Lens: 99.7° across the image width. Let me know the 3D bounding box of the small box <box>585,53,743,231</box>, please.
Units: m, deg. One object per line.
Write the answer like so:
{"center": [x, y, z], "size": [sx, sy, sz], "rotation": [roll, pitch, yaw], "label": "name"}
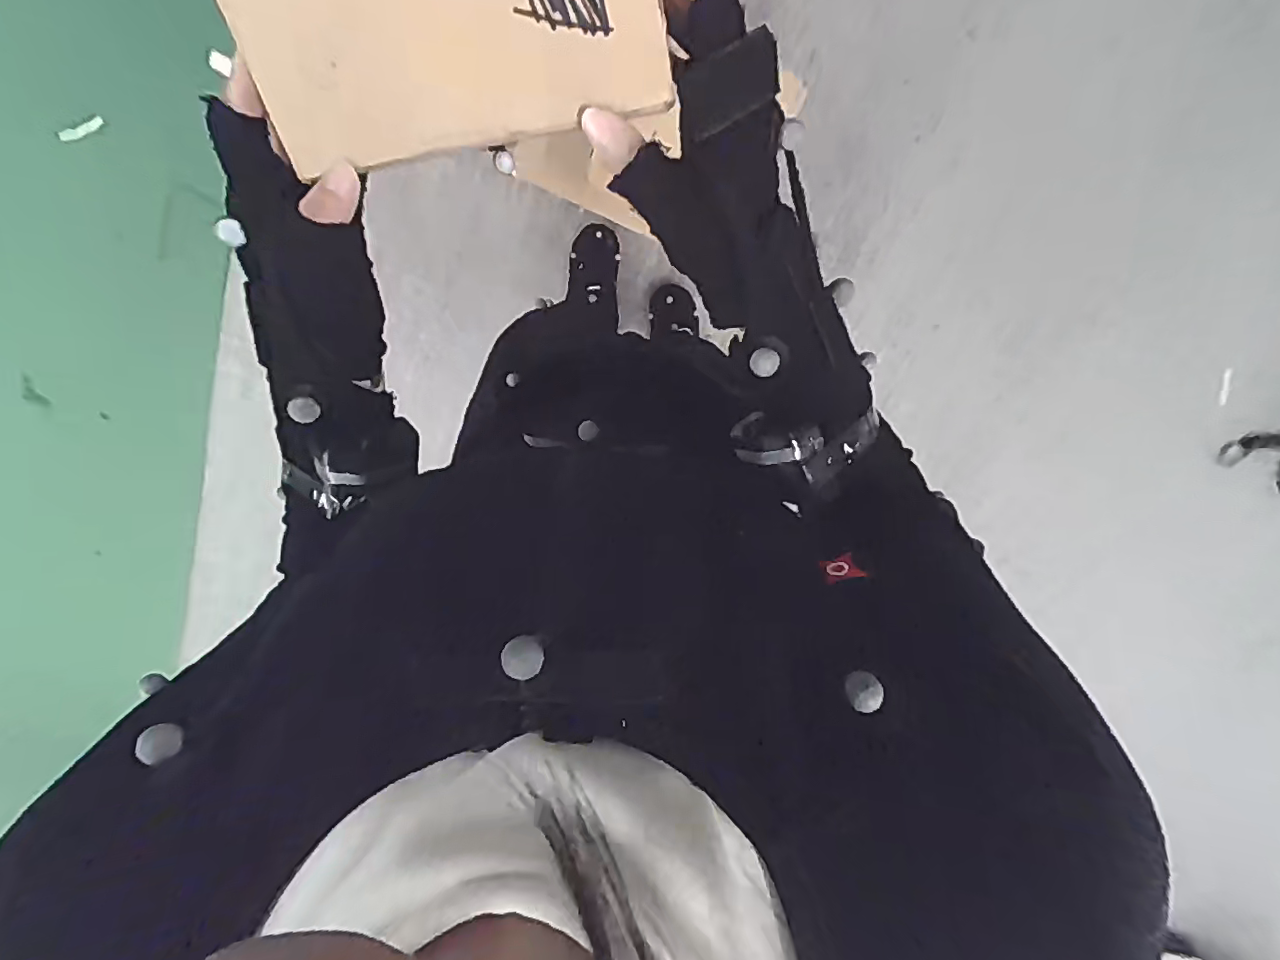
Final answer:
{"center": [0.035, -0.504, 0.834], "size": [0.179, 0.176, 0.168], "rotation": [24, 116, -9], "label": "small box"}
